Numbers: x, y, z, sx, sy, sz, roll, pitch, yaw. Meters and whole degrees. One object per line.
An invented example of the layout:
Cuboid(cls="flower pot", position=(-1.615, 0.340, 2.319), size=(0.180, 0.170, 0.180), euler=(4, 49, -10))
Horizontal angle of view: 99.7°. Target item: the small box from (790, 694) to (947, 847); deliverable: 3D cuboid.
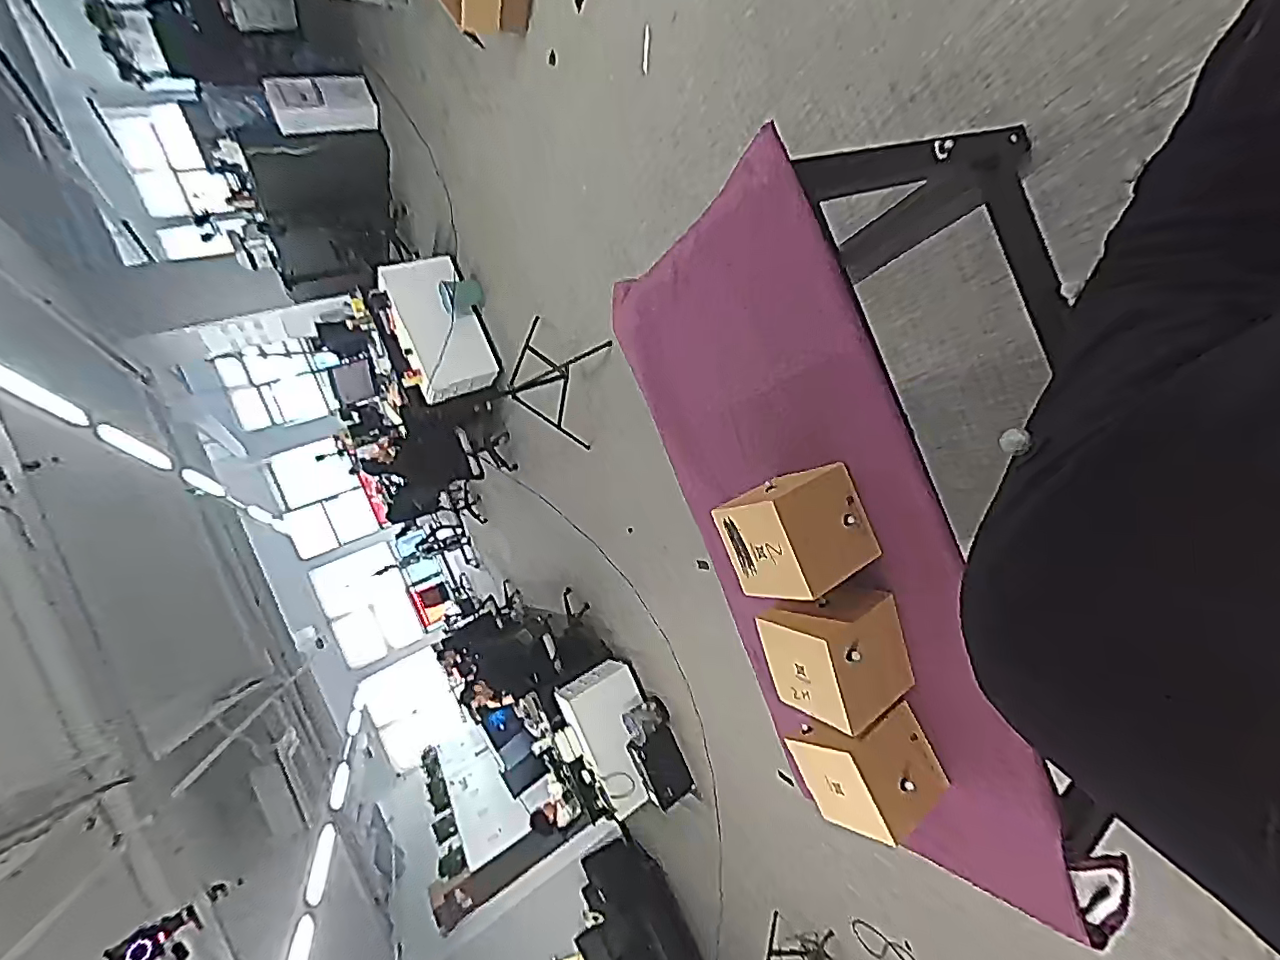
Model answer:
Cuboid(cls="small box", position=(0.415, 0.506, 0.974), size=(0.168, 0.176, 0.179), euler=(63, 153, 6))
